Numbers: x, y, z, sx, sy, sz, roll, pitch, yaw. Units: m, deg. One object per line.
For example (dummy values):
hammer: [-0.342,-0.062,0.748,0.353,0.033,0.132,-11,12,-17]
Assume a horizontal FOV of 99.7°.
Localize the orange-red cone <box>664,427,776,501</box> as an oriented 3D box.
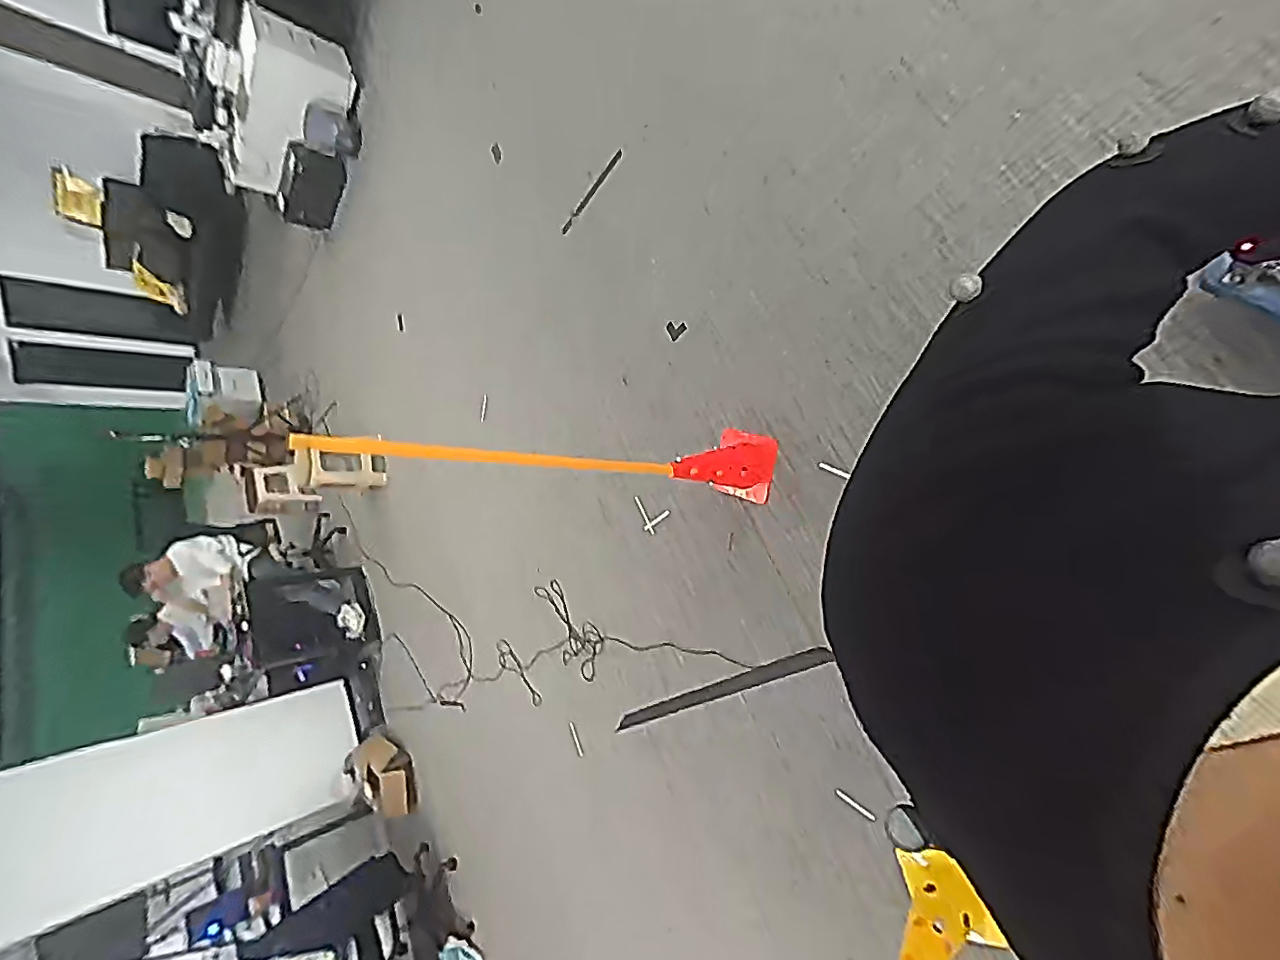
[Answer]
orange-red cone: [0.198,-0.039,1.525,0.199,0.360,0.198,21,108,40]
